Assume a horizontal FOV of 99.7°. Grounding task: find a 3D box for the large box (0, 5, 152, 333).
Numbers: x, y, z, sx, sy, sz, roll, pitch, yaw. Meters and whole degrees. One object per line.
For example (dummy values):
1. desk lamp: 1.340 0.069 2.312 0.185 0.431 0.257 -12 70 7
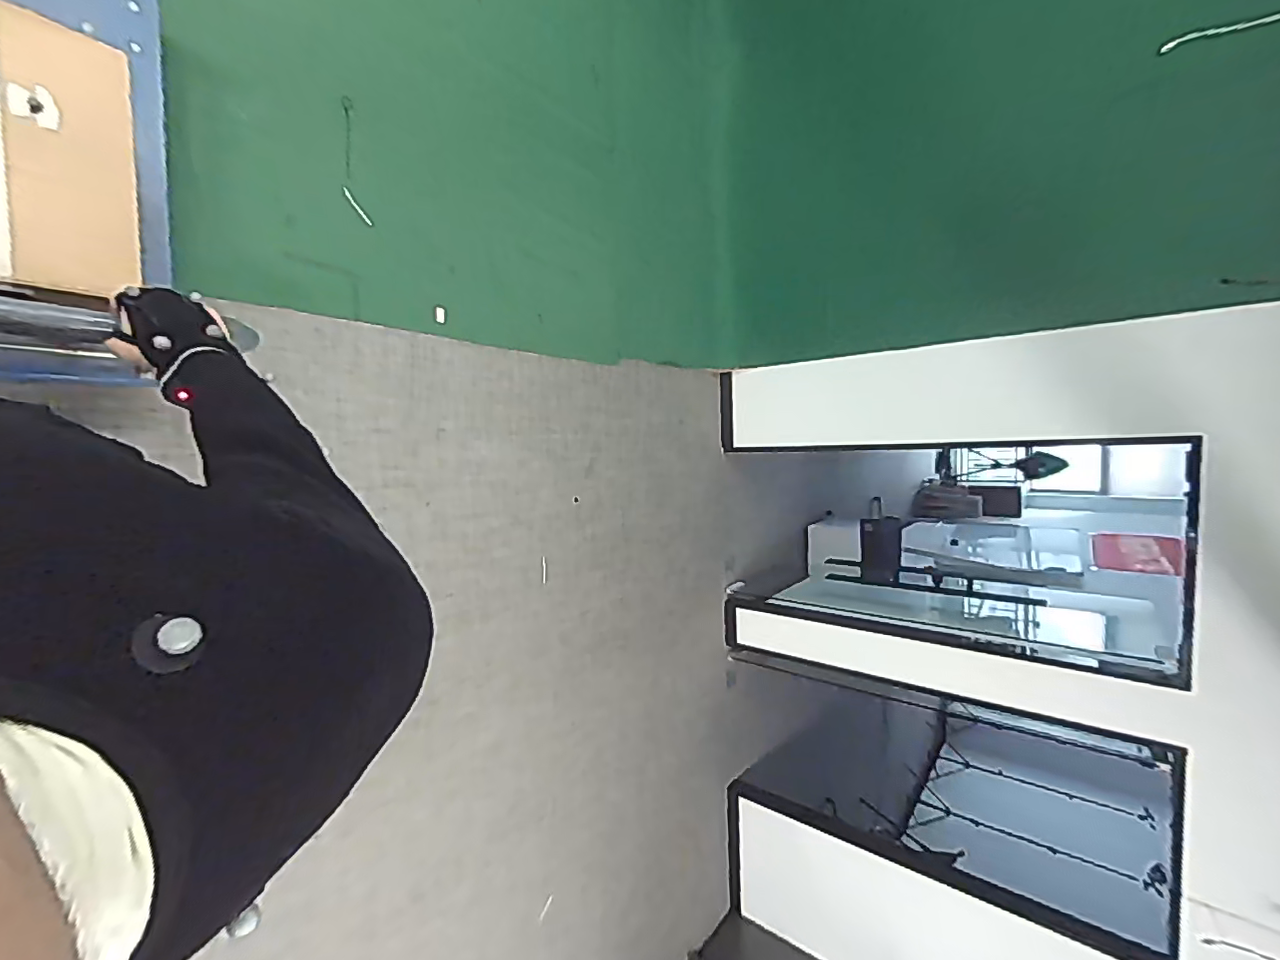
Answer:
1. large box: -1.027 -0.476 0.861 0.320 0.320 0.408 -5 93 -51
